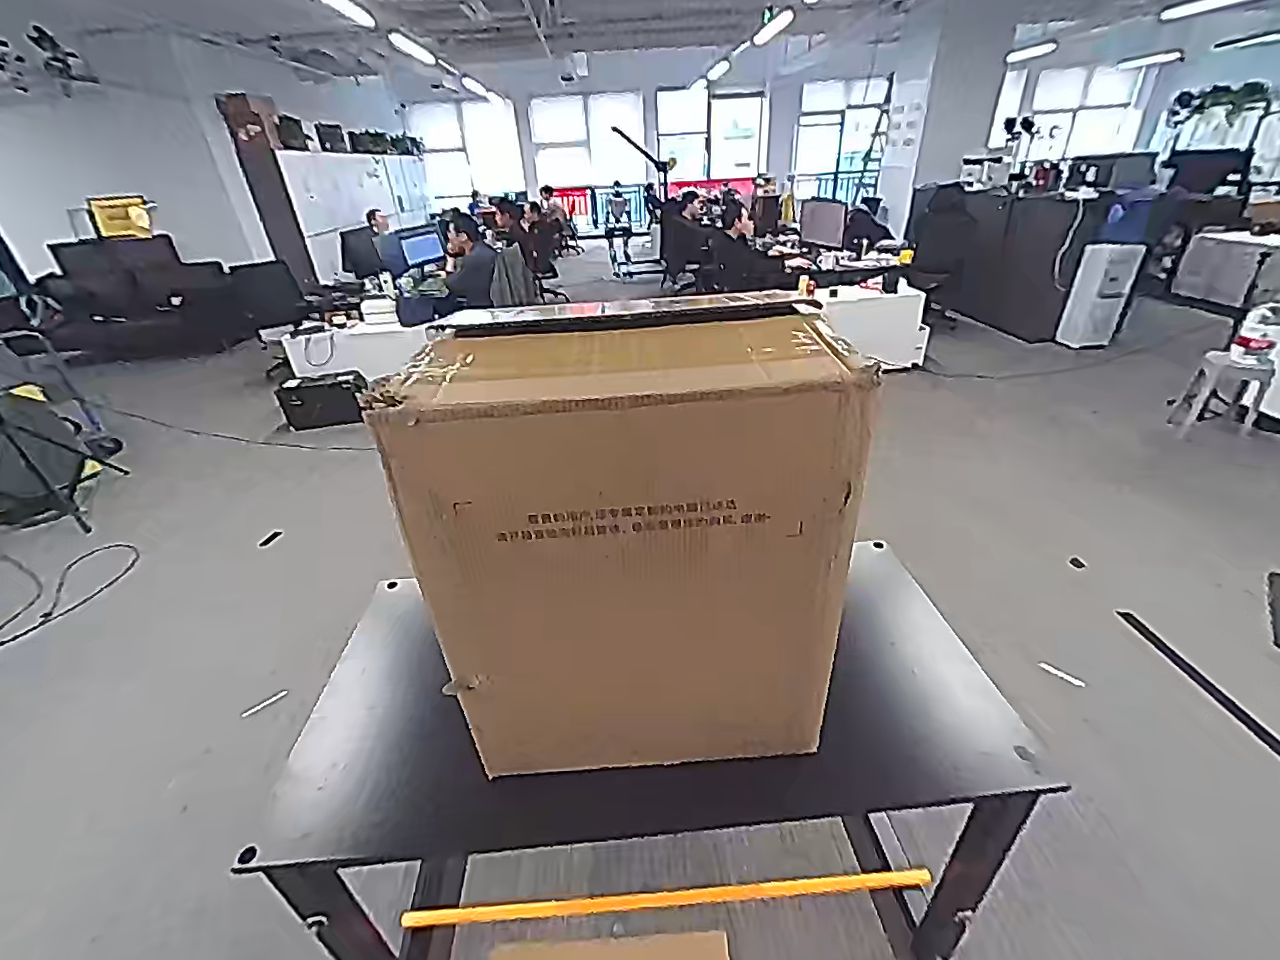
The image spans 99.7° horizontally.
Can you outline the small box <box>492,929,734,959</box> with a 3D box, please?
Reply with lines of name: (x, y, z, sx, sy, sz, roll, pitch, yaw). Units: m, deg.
small box: (-0.020, 0.448, 0.398, 0.179, 0.176, 0.168, 1, 46, -5)
